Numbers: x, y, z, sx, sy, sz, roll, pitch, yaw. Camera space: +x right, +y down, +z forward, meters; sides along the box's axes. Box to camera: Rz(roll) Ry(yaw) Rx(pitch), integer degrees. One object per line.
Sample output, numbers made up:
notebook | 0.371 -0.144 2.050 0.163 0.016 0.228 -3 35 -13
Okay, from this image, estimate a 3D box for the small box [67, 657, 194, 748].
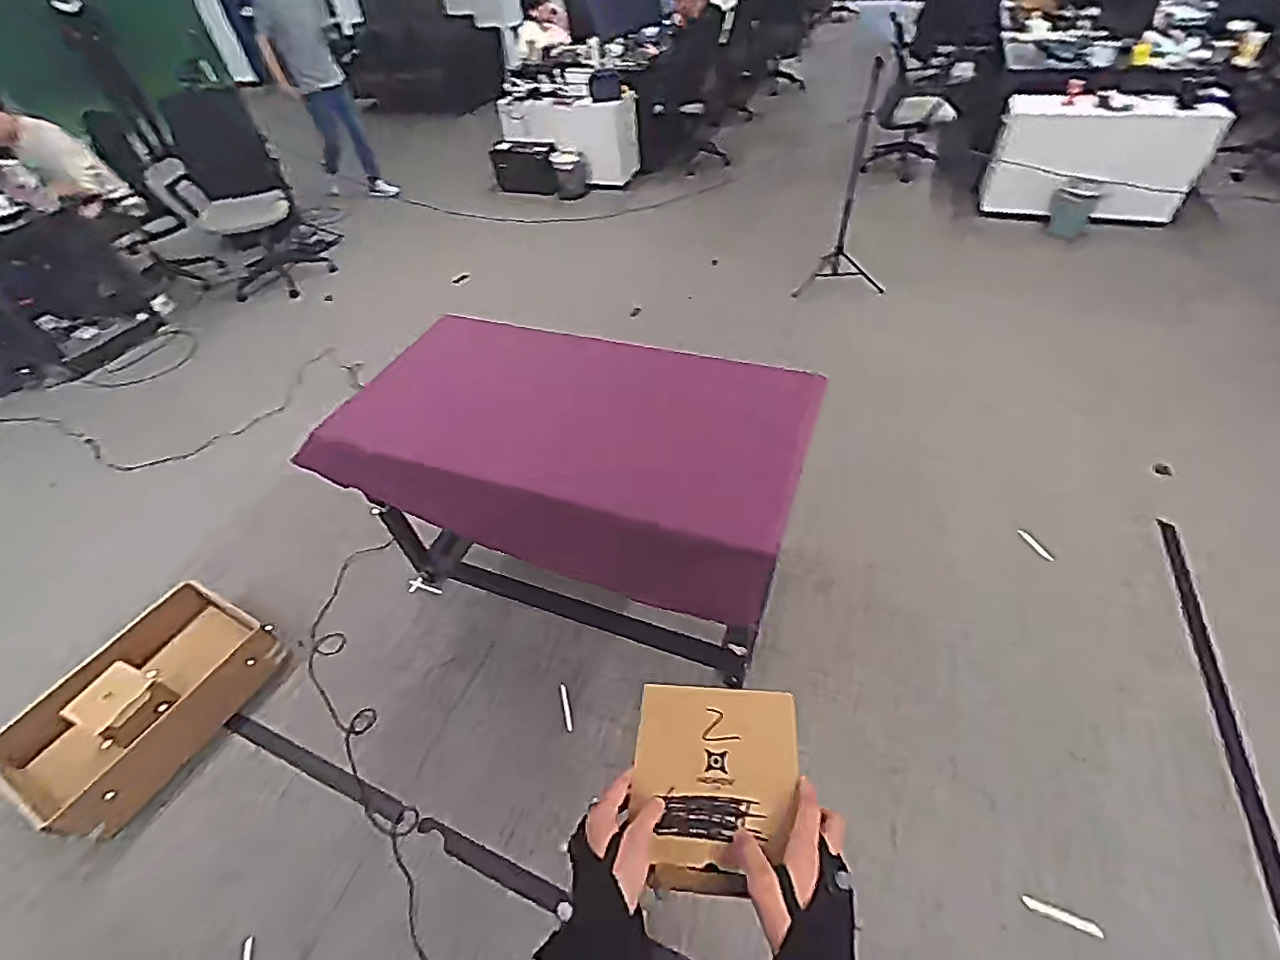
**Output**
small box | -1.467 0.652 1.570 0.179 0.176 0.168 15 48 19
